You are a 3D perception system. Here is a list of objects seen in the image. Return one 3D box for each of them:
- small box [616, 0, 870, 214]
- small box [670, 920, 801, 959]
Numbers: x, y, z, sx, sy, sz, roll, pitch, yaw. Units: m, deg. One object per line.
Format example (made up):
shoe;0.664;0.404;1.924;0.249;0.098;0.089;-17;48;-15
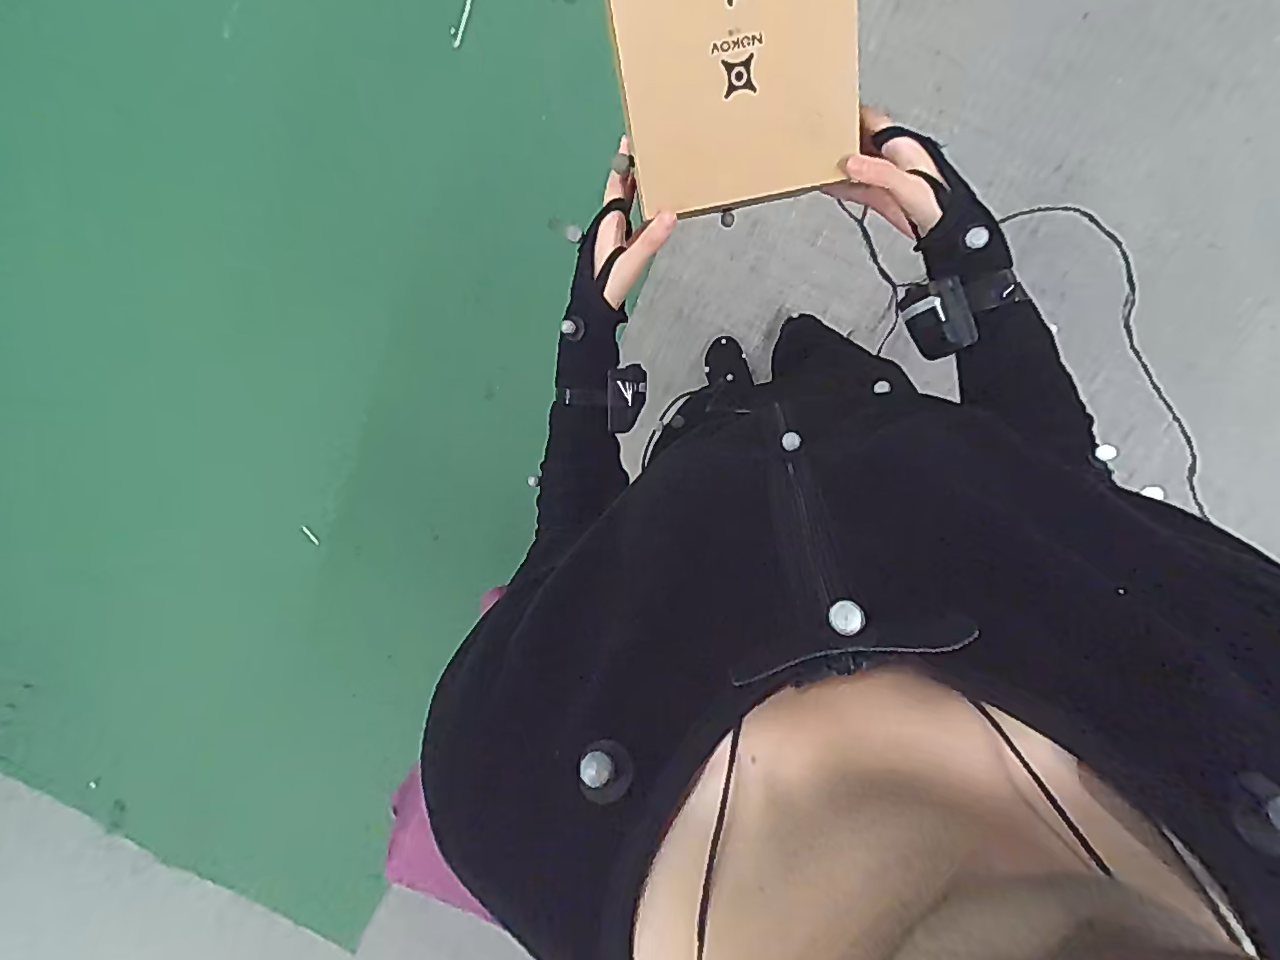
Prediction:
small box;0.074;-0.326;0.443;0.168;0.176;0.179;-10;113;3
small box;0.120;0.677;0.636;0.179;0.176;0.168;27;108;0
